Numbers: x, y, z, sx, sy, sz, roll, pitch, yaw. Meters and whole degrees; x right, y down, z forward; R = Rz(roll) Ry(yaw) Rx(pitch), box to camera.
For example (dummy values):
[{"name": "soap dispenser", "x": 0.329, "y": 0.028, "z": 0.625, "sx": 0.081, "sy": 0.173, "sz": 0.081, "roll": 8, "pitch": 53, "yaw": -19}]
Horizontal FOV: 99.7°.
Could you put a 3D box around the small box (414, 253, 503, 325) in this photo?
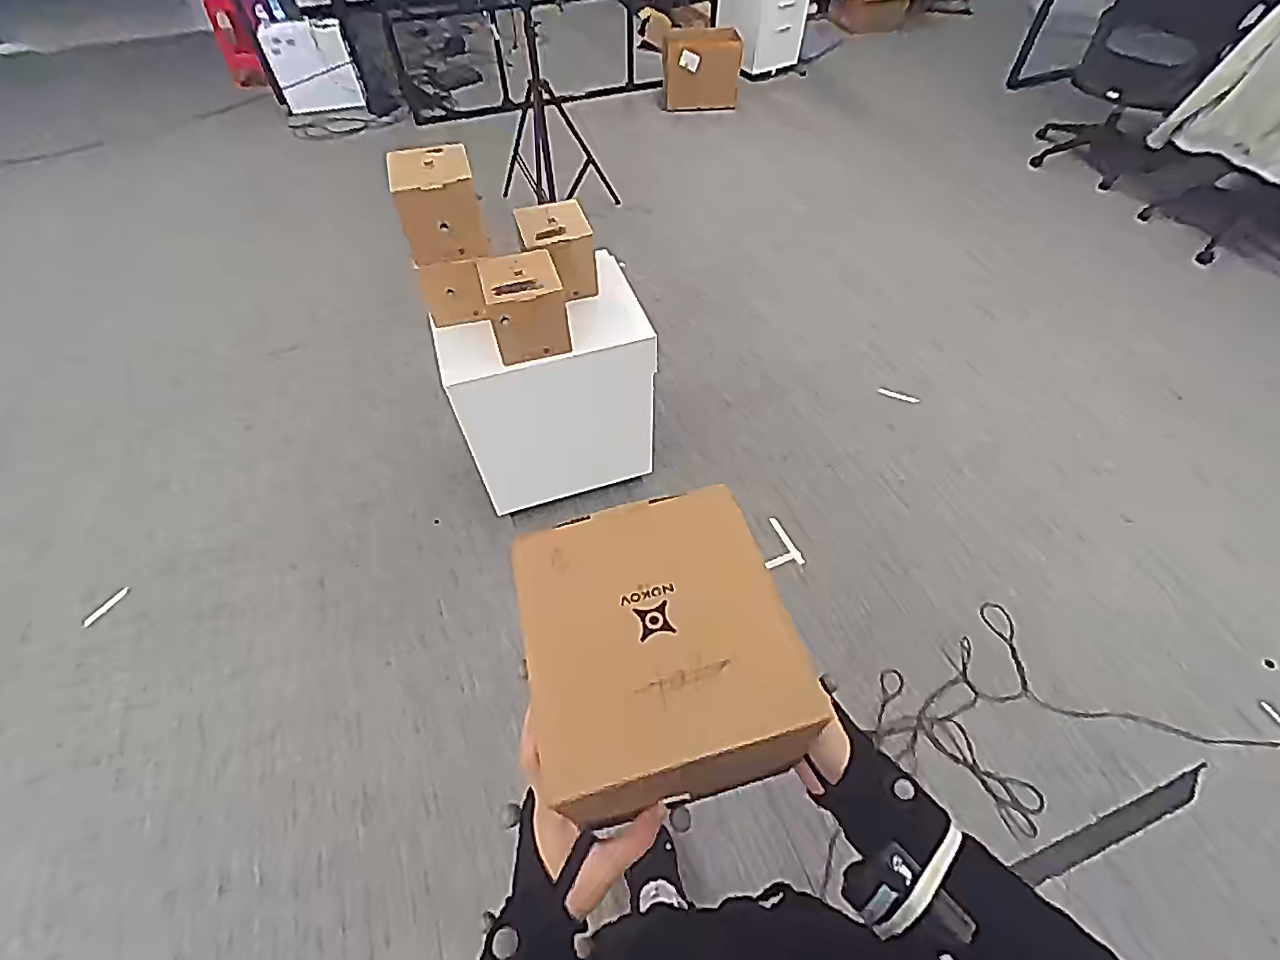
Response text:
[{"name": "small box", "x": -0.441, "y": -0.498, "z": 1.321, "sx": 0.168, "sy": 0.176, "sz": 0.179, "roll": -13, "pitch": 56, "yaw": -9}]

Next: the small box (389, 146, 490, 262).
[{"name": "small box", "x": -0.437, "y": -0.600, "z": 1.193, "sx": 0.168, "sy": 0.176, "sz": 0.179, "roll": -14, "pitch": 56, "yaw": -10}]

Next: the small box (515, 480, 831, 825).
[{"name": "small box", "x": 0.014, "y": 0.132, "z": 0.409, "sx": 0.168, "sy": 0.176, "sz": 0.179, "roll": -15, "pitch": 53, "yaw": -6}]
